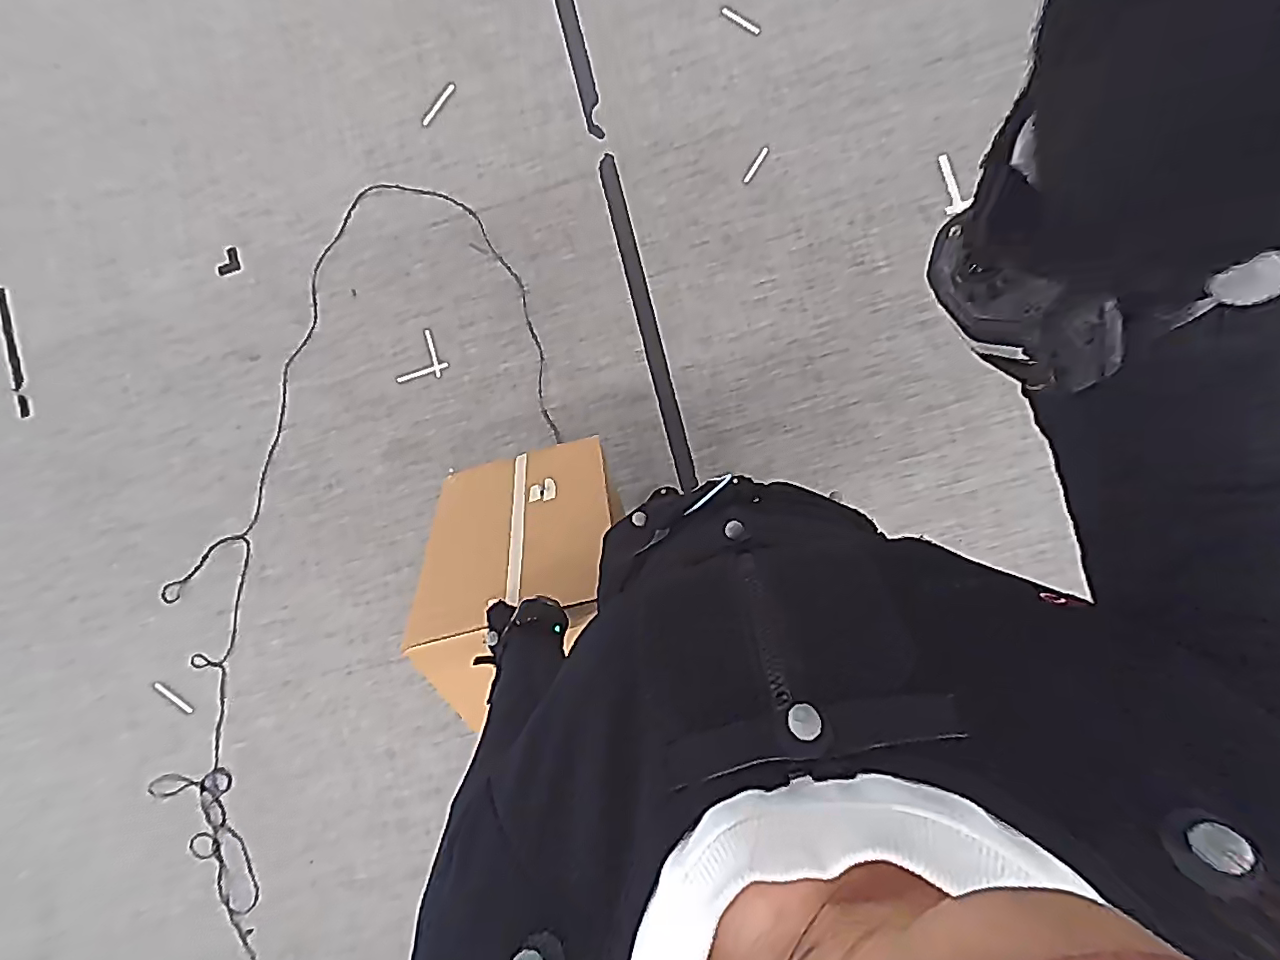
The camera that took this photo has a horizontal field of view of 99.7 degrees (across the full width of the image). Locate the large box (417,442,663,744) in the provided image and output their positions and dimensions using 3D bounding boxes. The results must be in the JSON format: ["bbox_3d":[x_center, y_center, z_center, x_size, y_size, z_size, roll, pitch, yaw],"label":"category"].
[{"bbox_3d":[-0.164,0.194,1.000,0.320,0.408,0.320,-14,127,1],"label":"large box"}]
